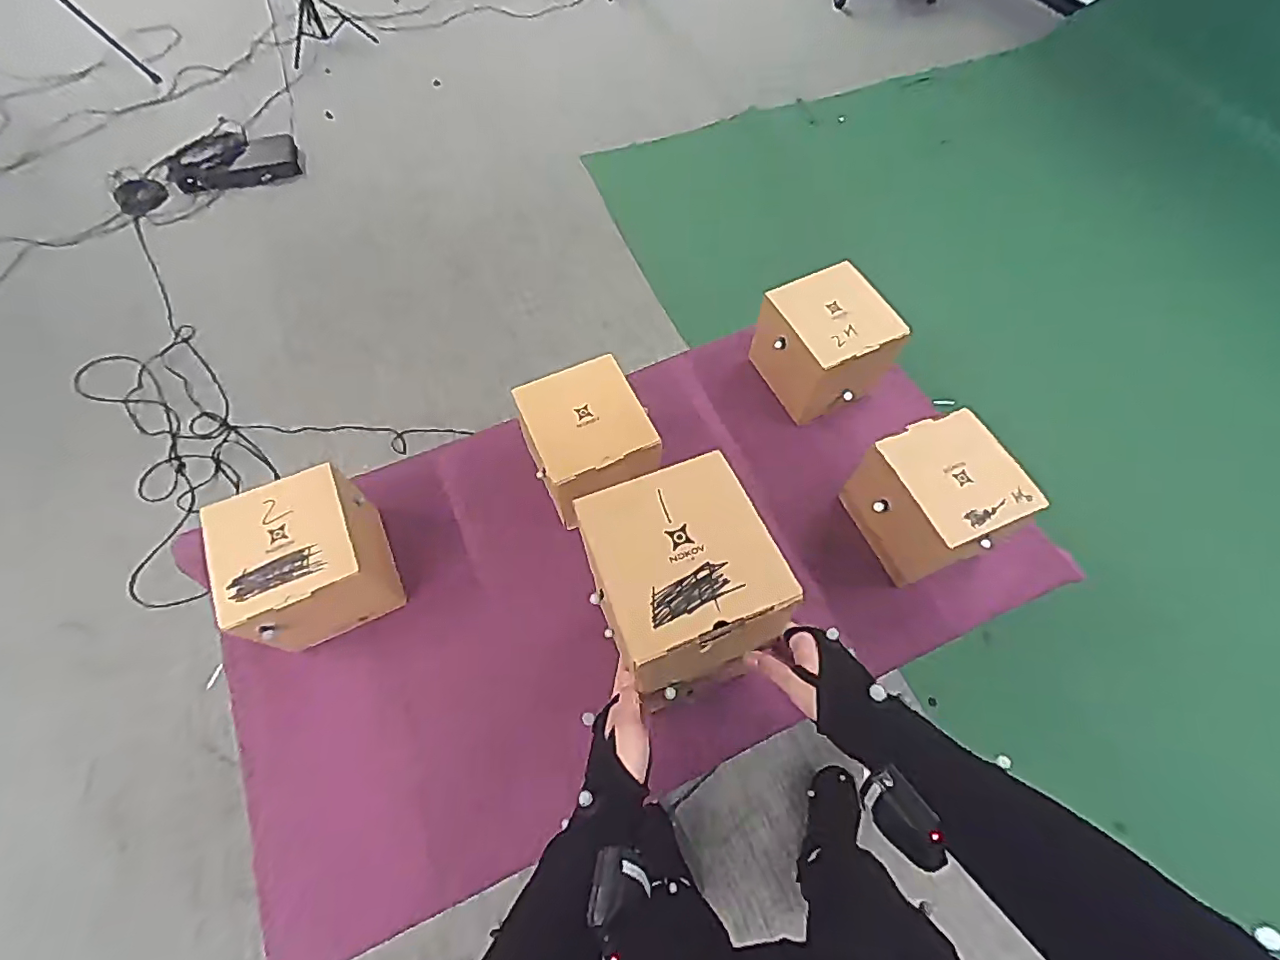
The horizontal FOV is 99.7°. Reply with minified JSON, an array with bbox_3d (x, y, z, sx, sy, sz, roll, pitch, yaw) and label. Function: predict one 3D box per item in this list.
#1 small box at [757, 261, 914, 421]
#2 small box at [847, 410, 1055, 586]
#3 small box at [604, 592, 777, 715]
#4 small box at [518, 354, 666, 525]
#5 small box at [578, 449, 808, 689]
[{"bbox_3d":[0.321,-0.233,0.933,0.168,0.176,0.179,-24,66,-9],"label":"small box"},{"bbox_3d":[0.440,0.031,0.803,0.168,0.176,0.179,-20,63,-9],"label":"small box"},{"bbox_3d":[0.052,0.185,0.713,0.168,0.176,0.179,-19,60,-10],"label":"small box"},{"bbox_3d":[-0.075,-0.058,0.844,0.168,0.176,0.179,-23,67,-13],"label":"small box"},{"bbox_3d":[0.048,0.103,0.570,0.168,0.176,0.179,-19,58,-10],"label":"small box"}]
